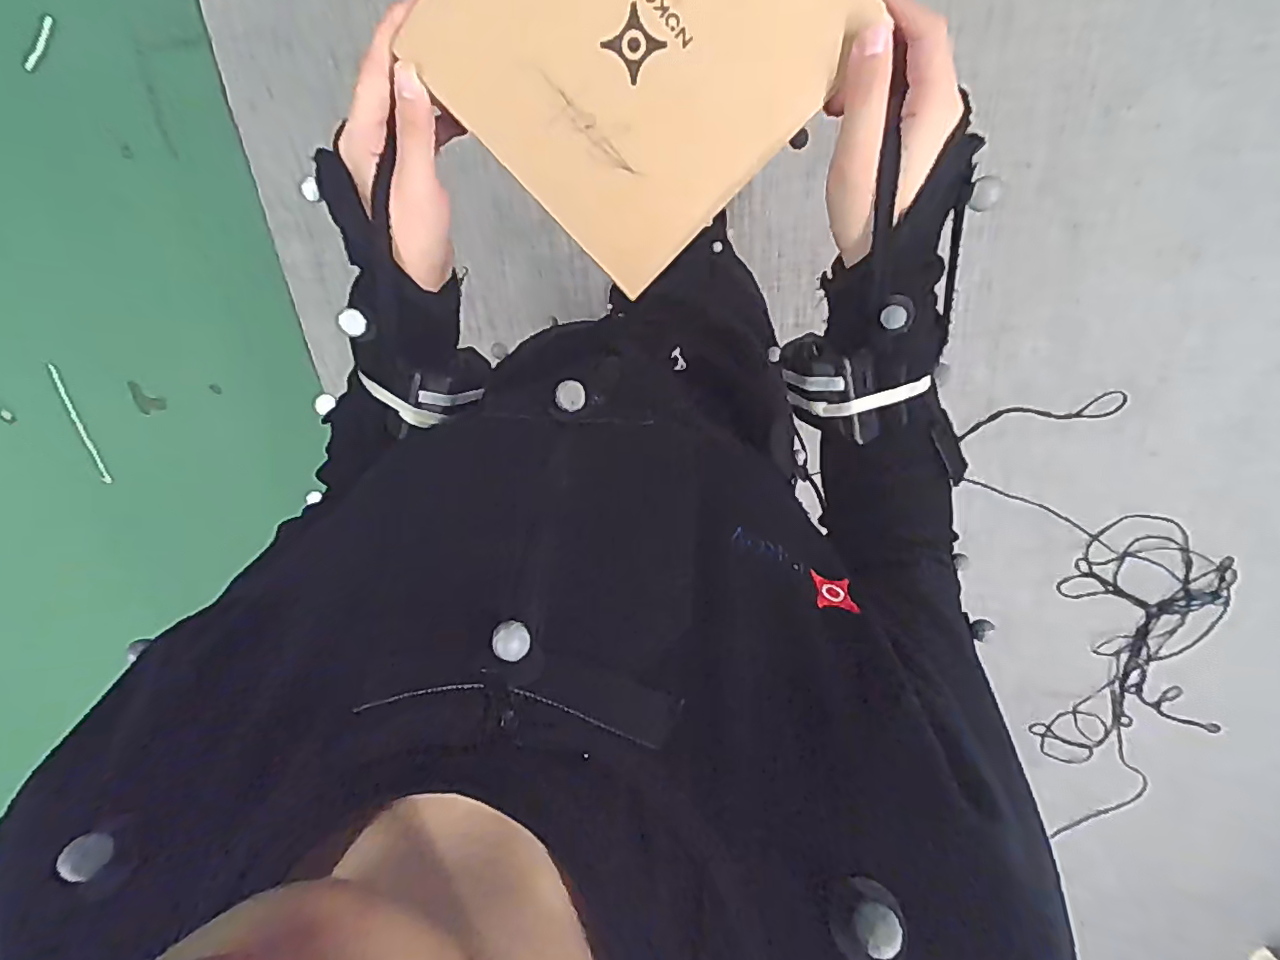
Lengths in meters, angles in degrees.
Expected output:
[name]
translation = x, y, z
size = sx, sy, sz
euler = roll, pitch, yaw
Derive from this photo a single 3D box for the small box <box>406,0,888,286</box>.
[small box]
translation = 0.004, -0.252, 0.328
size = 0.168, 0.176, 0.179
euler = 42, 113, -17
